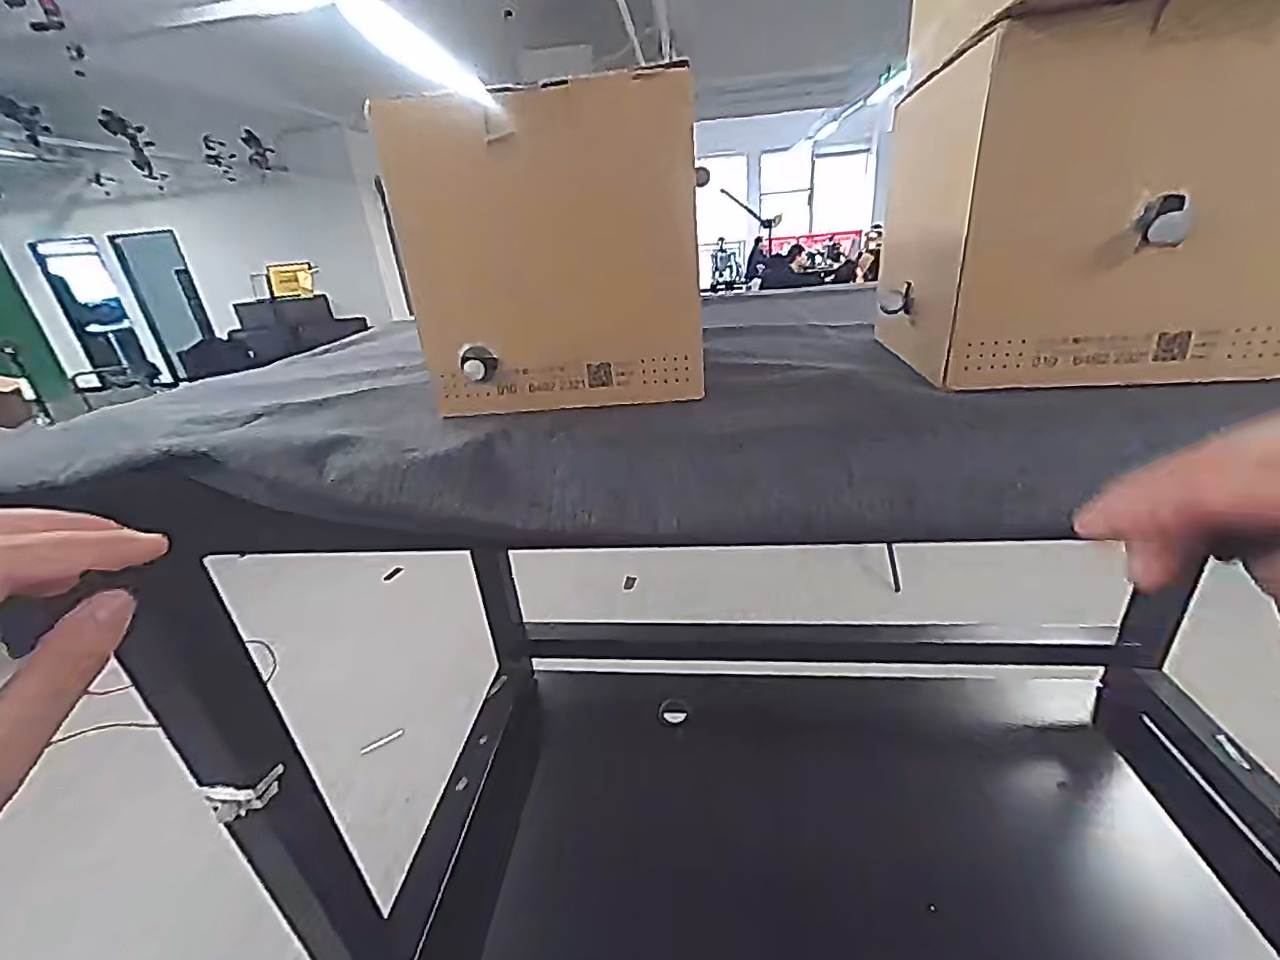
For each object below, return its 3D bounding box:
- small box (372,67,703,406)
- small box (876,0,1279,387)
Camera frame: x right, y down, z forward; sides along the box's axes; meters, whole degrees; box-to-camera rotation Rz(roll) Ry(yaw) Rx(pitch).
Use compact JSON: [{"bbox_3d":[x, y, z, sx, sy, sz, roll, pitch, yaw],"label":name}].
[{"bbox_3d":[-0.046,-0.151,0.375,0.168,0.176,0.179,-3,23,4],"label":"small box"},{"bbox_3d":[0.254,-0.156,0.329,0.168,0.176,0.179,0,25,10],"label":"small box"}]
